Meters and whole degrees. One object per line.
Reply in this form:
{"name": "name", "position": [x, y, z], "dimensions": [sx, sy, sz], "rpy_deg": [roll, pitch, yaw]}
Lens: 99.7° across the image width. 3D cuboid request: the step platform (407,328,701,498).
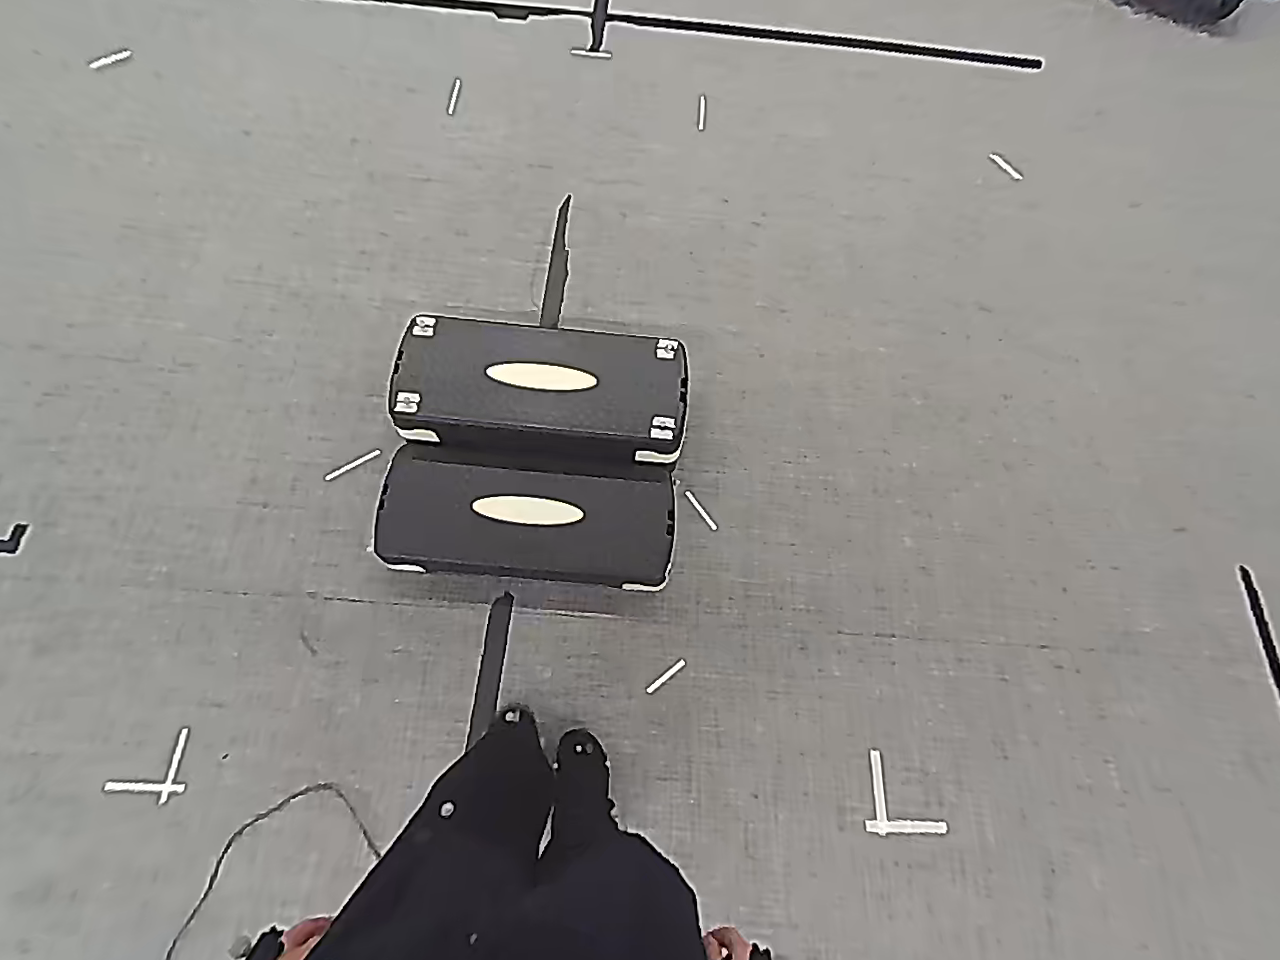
{"name": "step platform", "position": [-0.194, -0.160, 1.317], "dimensions": [0.684, 0.204, 0.286], "rpy_deg": [10, 69, -1]}
